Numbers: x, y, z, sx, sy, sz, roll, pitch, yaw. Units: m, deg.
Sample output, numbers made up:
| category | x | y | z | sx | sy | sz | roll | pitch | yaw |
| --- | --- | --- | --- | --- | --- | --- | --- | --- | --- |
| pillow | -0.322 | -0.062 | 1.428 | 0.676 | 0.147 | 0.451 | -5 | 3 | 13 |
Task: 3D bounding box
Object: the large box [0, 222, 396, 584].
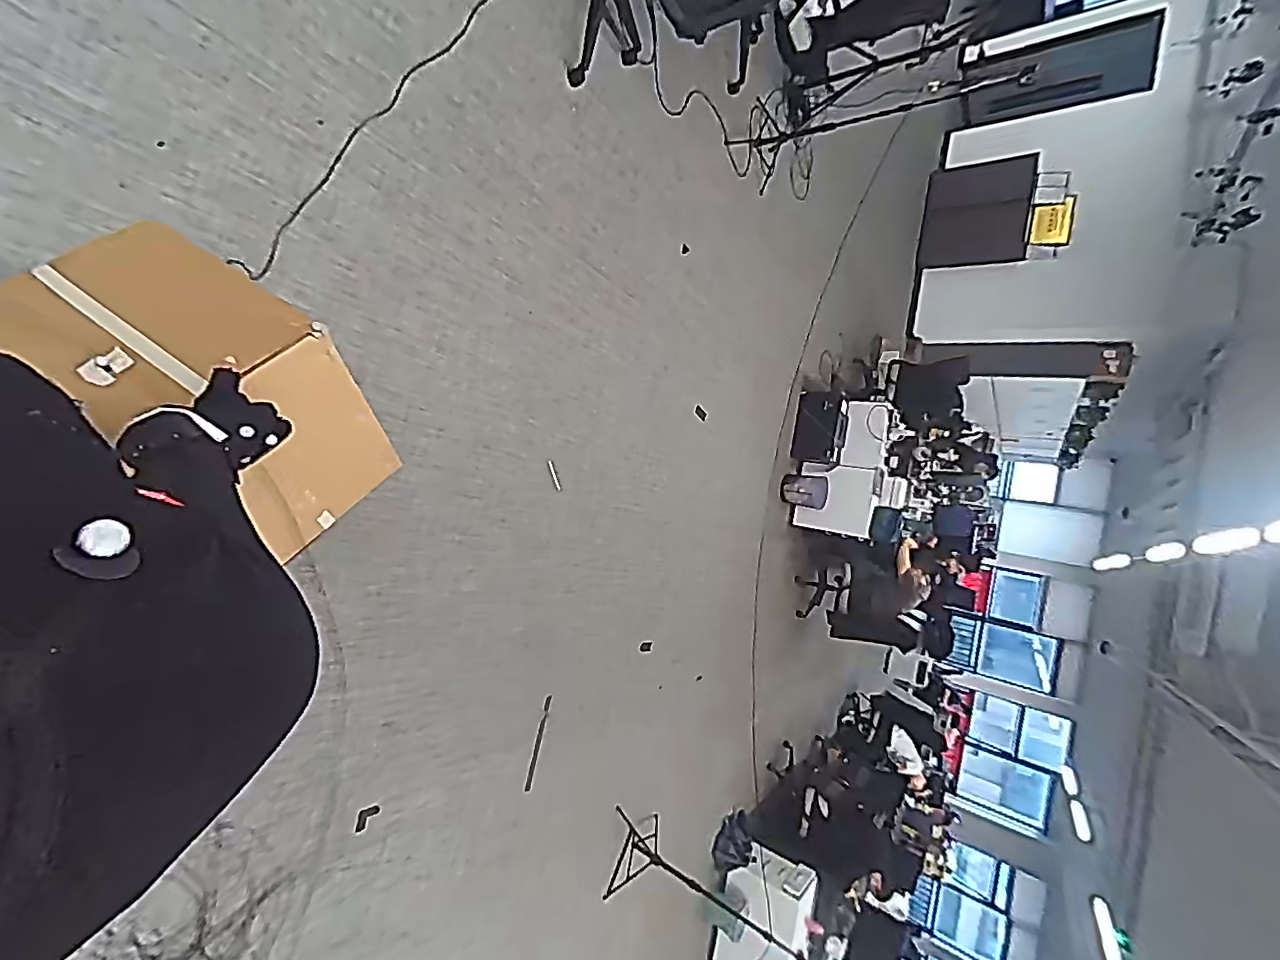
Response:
| category | x | y | z | sx | sy | sz | roll | pitch | yaw |
| --- | --- | --- | --- | --- | --- | --- | --- | --- | --- |
| large box | -0.670 | -0.113 | 0.823 | 0.320 | 0.408 | 0.320 | -51 | 163 | -26 |
